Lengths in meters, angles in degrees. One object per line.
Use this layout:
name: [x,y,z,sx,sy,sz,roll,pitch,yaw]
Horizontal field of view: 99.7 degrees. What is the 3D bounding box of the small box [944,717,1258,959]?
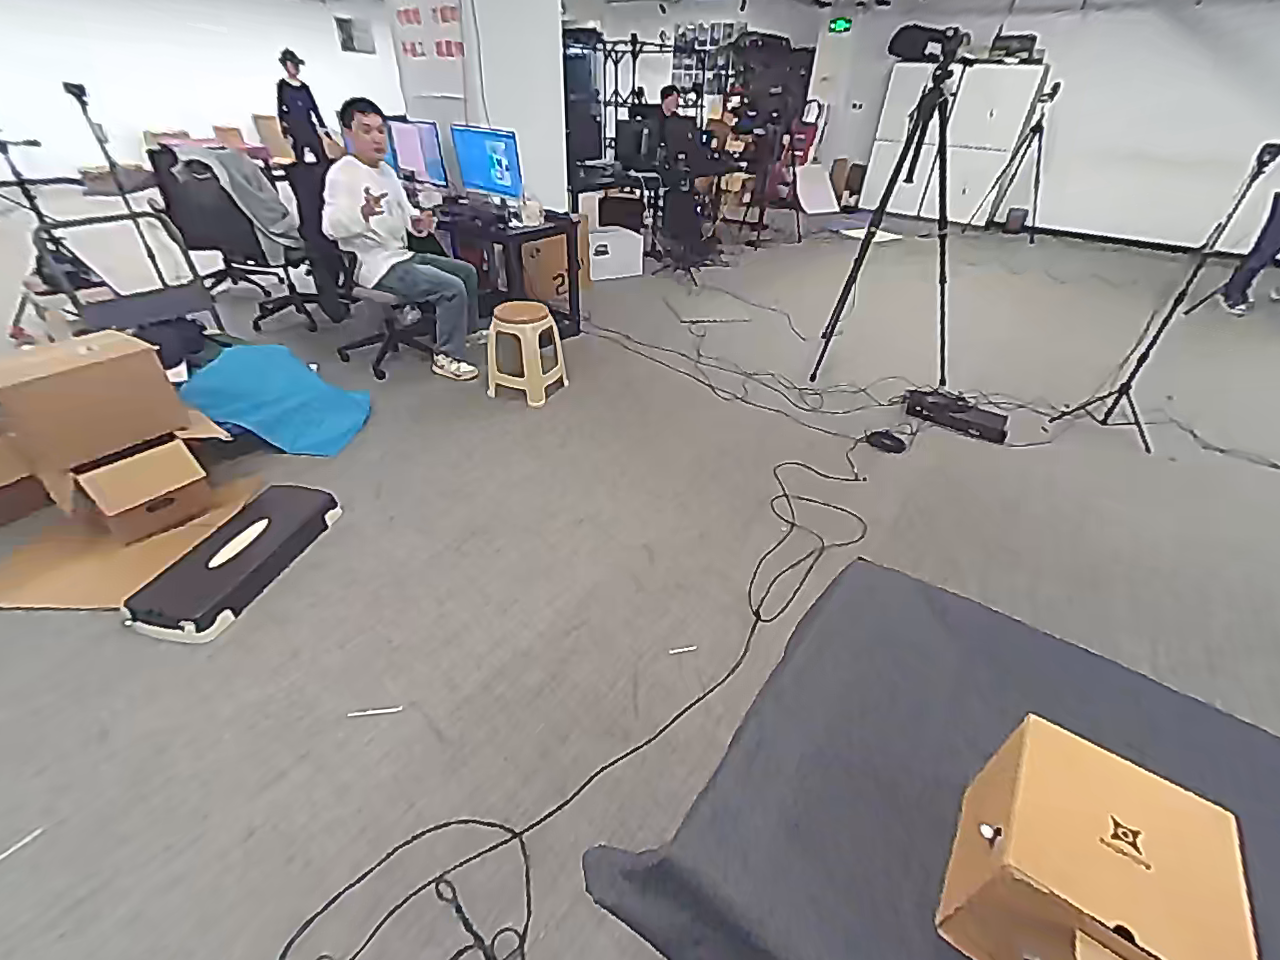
small box: [0.421,0.381,0.520,0.168,0.176,0.179,25,41,27]
